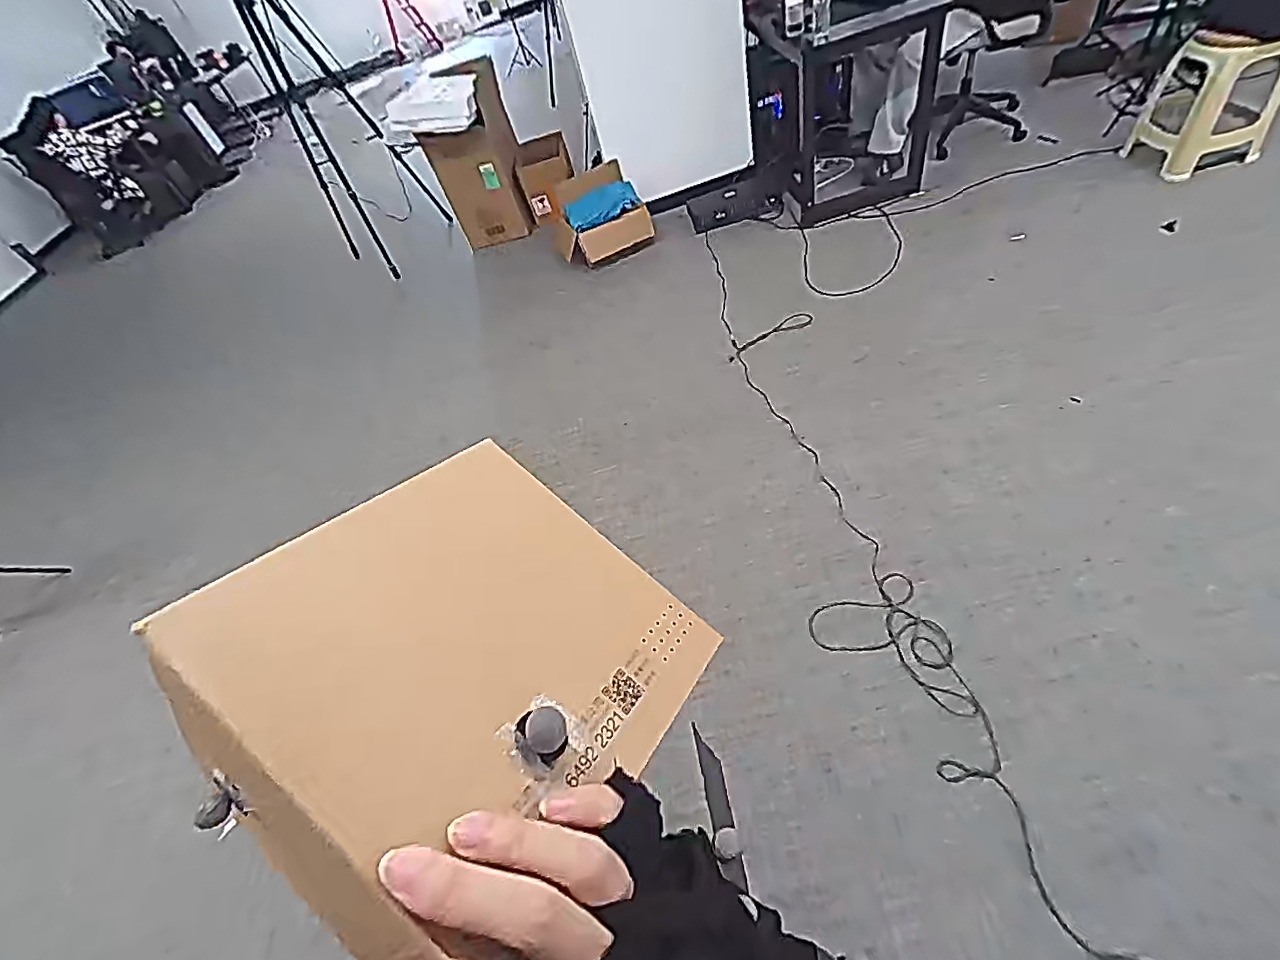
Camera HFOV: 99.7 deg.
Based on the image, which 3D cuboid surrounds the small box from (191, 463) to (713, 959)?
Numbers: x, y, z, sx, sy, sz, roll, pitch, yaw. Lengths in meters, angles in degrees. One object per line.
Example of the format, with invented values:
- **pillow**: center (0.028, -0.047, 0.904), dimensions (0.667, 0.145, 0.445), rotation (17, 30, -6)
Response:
- **small box**: center (-0.091, 0.130, 0.297), dimensions (0.176, 0.179, 0.168), rotation (39, 42, 9)
